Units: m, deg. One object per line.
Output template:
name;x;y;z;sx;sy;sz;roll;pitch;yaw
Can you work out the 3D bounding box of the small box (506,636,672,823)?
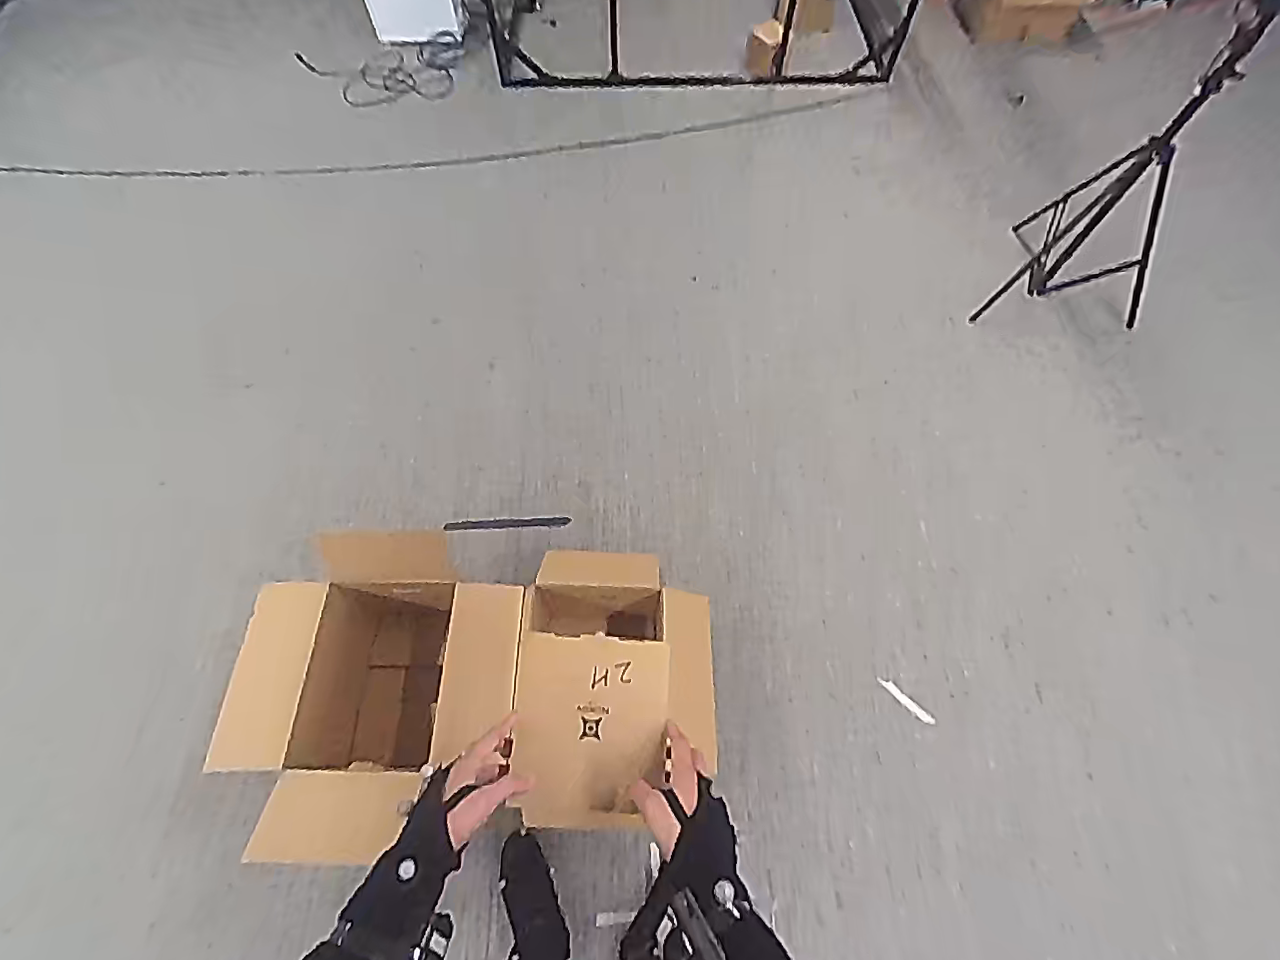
small box;-0.056;0.293;0.658;0.168;0.176;0.179;6;69;-3
